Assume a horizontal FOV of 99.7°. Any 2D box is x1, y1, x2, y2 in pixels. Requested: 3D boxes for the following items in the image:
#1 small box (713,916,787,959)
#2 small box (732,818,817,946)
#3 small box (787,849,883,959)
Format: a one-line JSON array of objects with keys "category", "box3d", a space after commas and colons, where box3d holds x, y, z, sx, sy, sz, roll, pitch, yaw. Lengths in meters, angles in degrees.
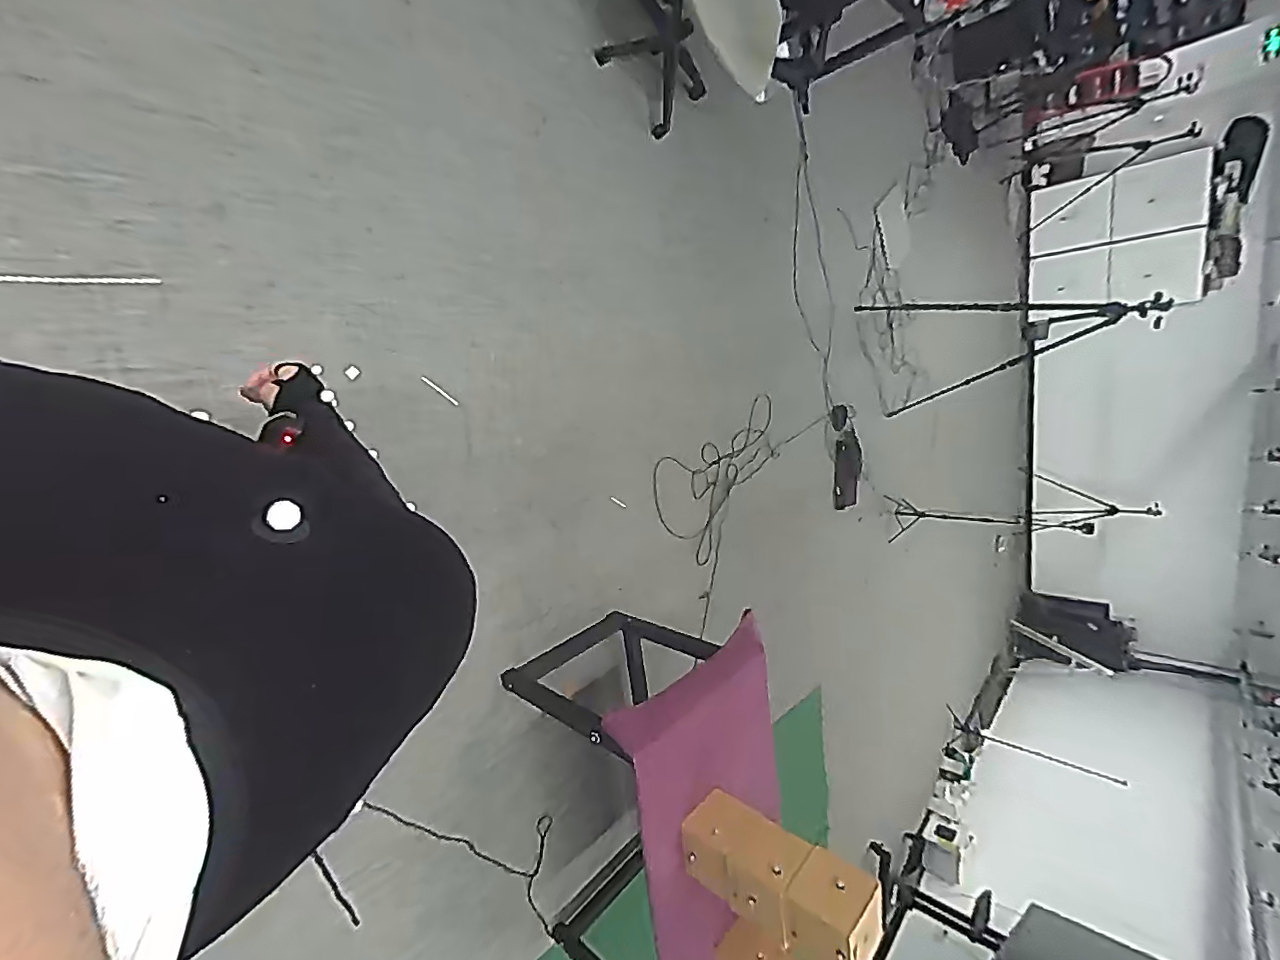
[{"category": "small box", "box3d": [0.348, 1.537, 1.696, 0.179, 0.176, 0.168, -14, 102, -43]}, {"category": "small box", "box3d": [0.355, 1.052, 1.431, 0.179, 0.176, 0.168, -16, 105, -43]}, {"category": "small box", "box3d": [0.477, 1.060, 1.321, 0.179, 0.176, 0.168, -18, 106, -43]}]
